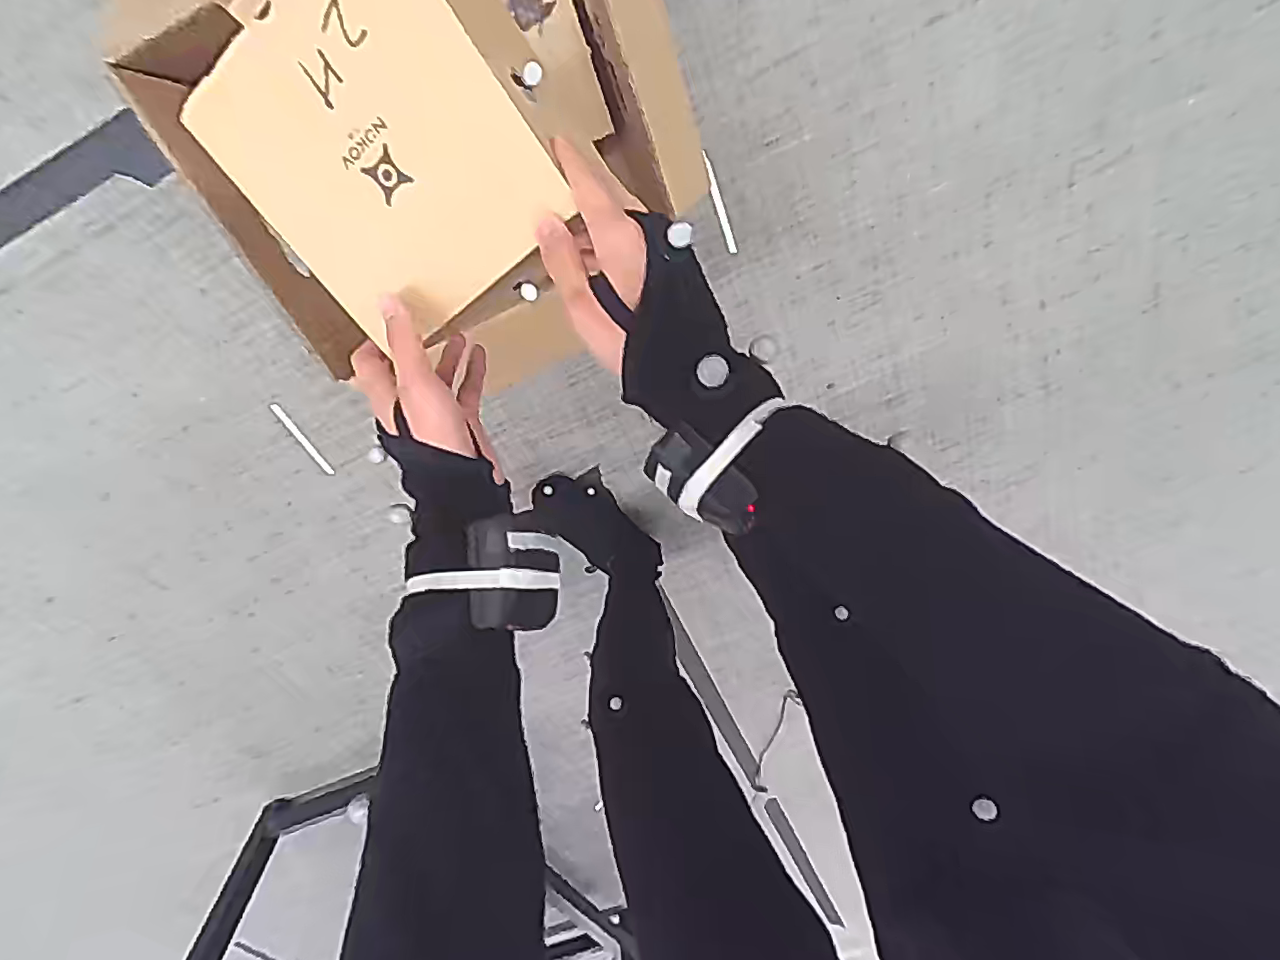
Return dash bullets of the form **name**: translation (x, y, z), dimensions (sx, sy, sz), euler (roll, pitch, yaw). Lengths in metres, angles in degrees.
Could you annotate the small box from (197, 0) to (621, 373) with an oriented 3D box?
- **small box**: translation (-0.132, -0.209, 0.380), dimensions (0.168, 0.176, 0.179), euler (-29, 109, 21)
